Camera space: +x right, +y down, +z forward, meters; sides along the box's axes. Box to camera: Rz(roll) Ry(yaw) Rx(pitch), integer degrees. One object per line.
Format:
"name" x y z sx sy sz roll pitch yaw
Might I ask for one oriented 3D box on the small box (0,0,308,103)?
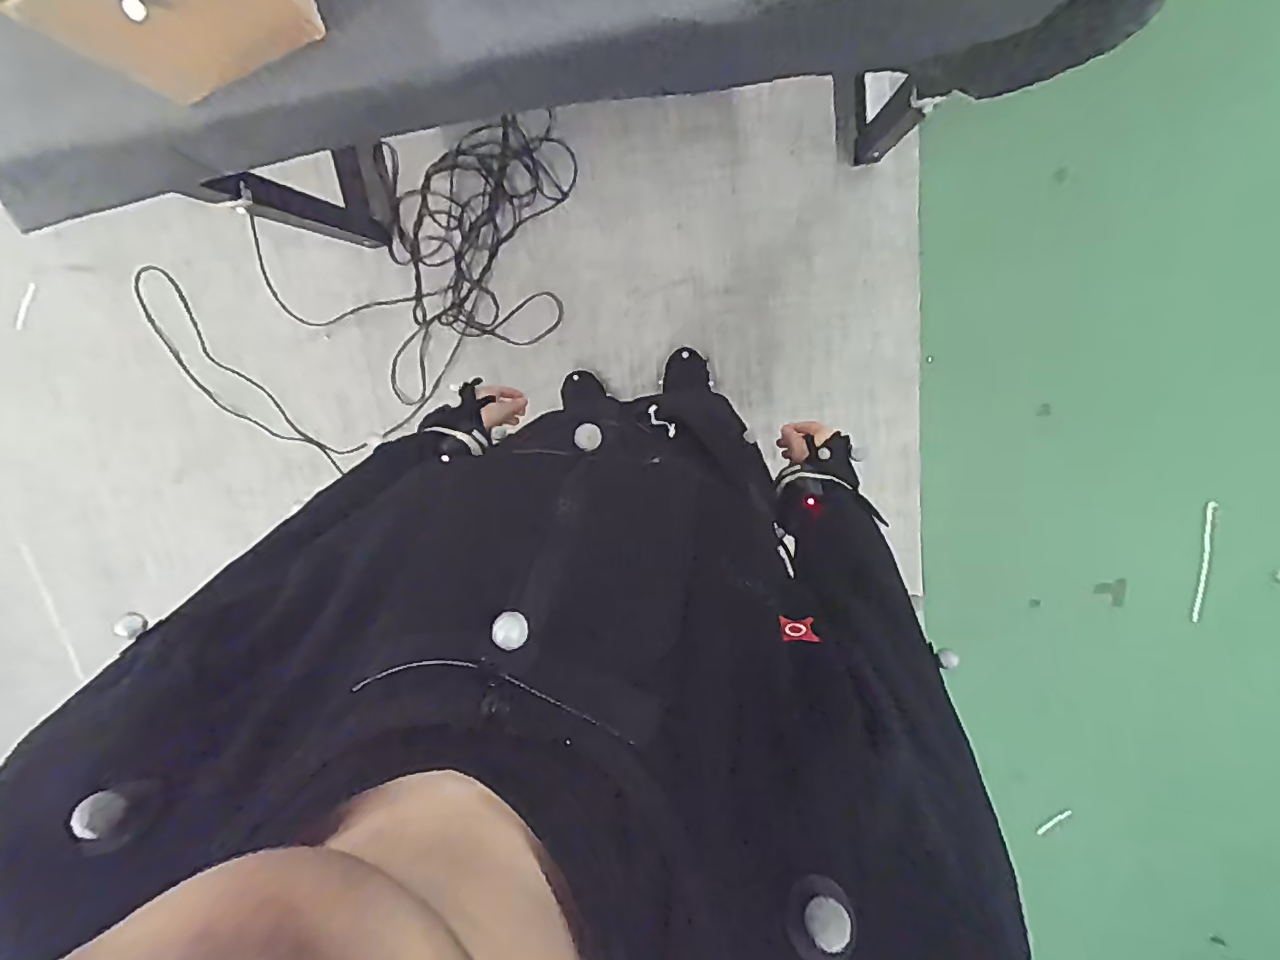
"small box" -0.423 -0.467 0.455 0.179 0.176 0.168 -18 101 9
